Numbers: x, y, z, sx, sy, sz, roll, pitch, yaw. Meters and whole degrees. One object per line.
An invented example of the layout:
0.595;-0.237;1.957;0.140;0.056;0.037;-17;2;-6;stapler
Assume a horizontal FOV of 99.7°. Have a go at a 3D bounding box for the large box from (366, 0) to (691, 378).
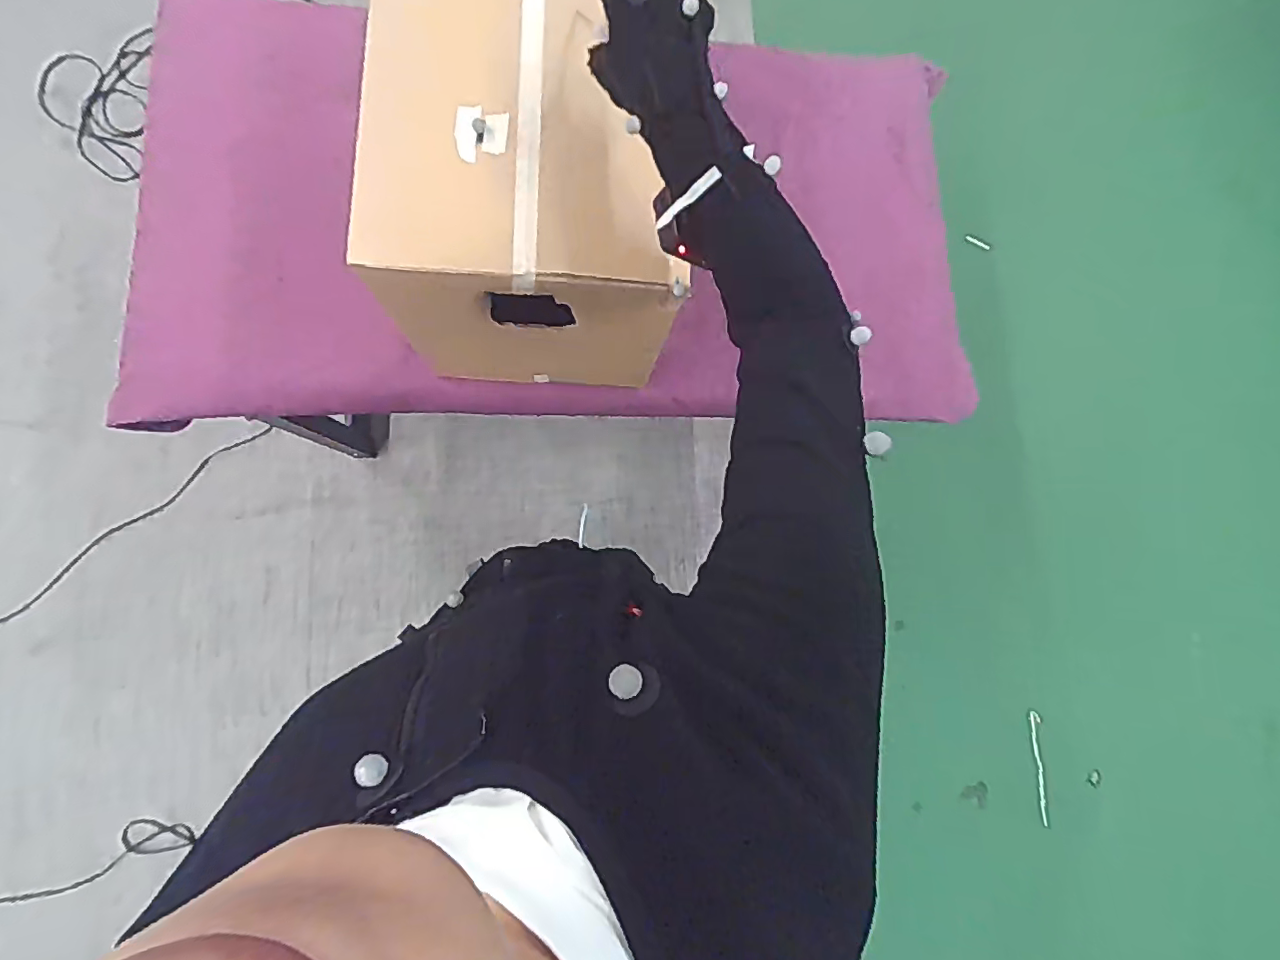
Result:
-0.122;-0.373;0.684;0.320;0.320;0.408;2;83;-7;large box
